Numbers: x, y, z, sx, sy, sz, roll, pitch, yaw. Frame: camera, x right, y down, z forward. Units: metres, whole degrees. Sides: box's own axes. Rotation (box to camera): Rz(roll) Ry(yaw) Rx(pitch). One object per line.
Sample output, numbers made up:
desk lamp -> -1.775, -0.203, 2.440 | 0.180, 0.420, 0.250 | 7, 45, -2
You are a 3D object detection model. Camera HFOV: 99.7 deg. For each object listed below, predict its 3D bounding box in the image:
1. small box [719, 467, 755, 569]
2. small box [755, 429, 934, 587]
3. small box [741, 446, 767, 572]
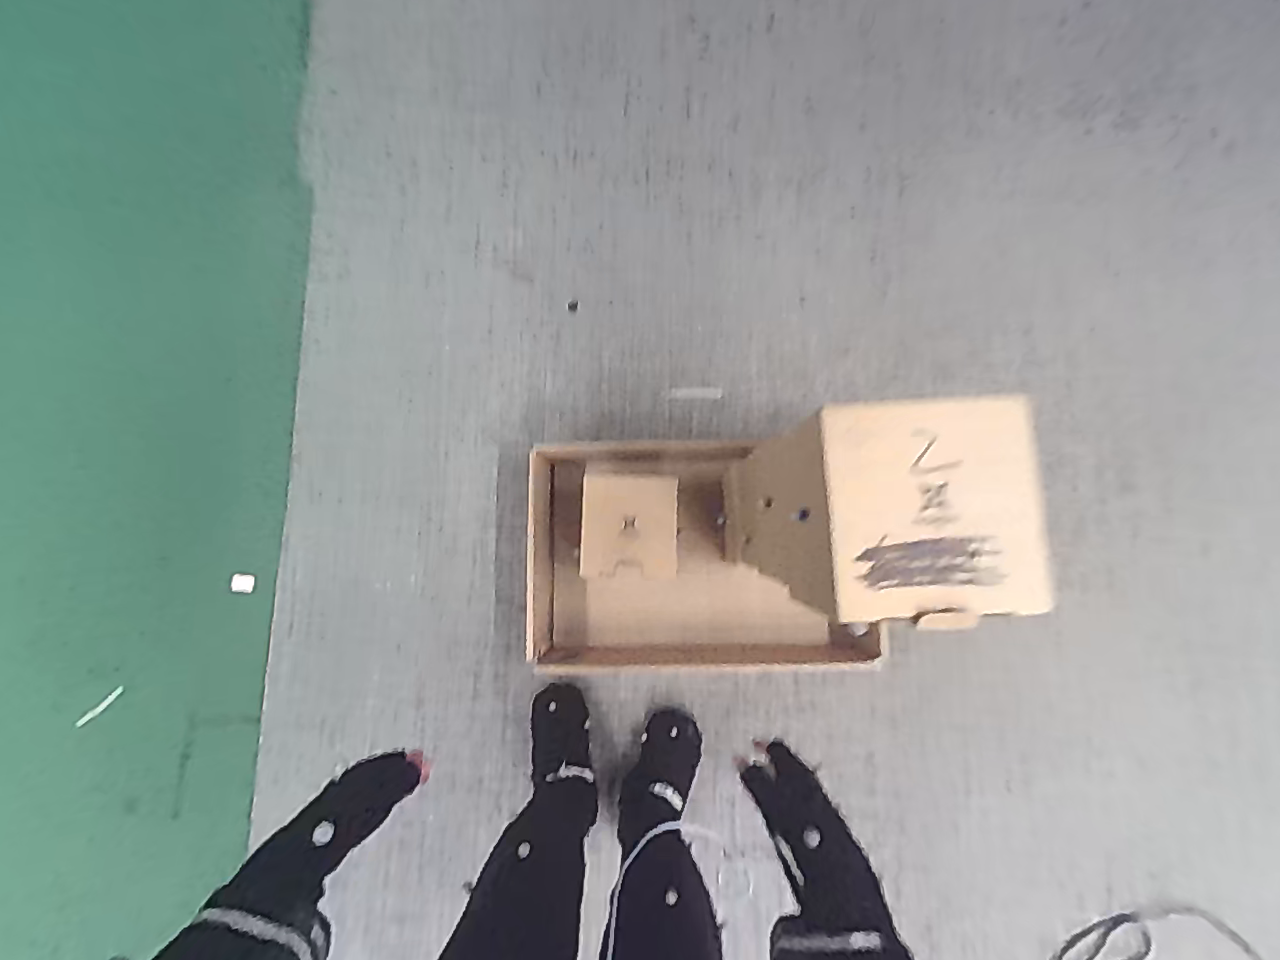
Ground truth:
small box -> 0.241, 0.068, 1.004 | 0.168, 0.176, 0.179 | -5, 83, 3
small box -> 0.242, 0.037, 0.676 | 0.168, 0.176, 0.179 | 0, 84, 1
small box -> 0.249, 0.047, 0.823 | 0.168, 0.176, 0.179 | -1, 84, 2
